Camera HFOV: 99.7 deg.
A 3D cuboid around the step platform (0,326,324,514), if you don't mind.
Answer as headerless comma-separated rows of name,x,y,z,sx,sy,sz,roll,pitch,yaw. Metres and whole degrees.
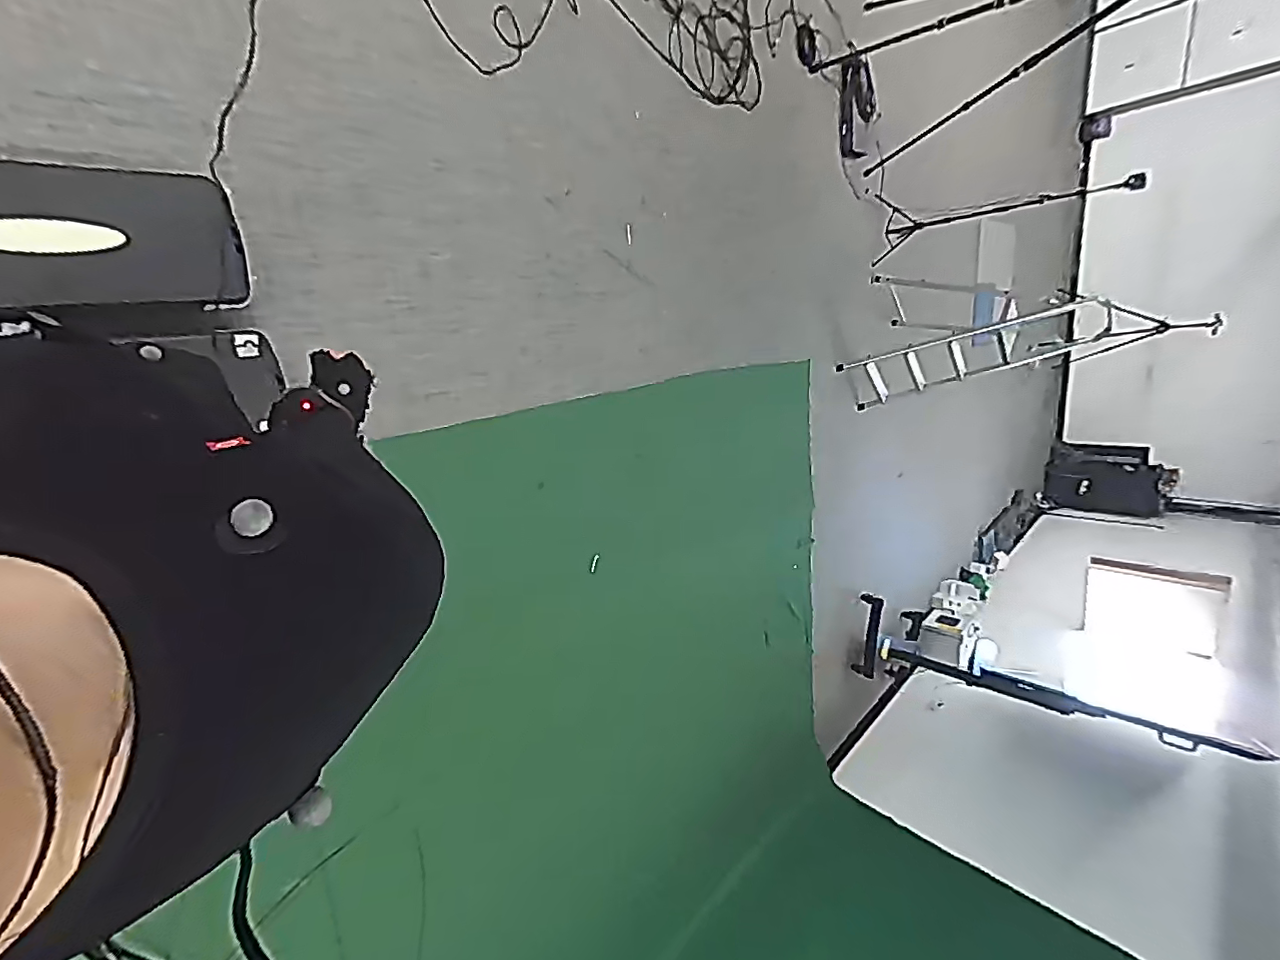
step platform,-1.001,-0.112,1.004,0.684,0.204,0.286,-20,110,-41
